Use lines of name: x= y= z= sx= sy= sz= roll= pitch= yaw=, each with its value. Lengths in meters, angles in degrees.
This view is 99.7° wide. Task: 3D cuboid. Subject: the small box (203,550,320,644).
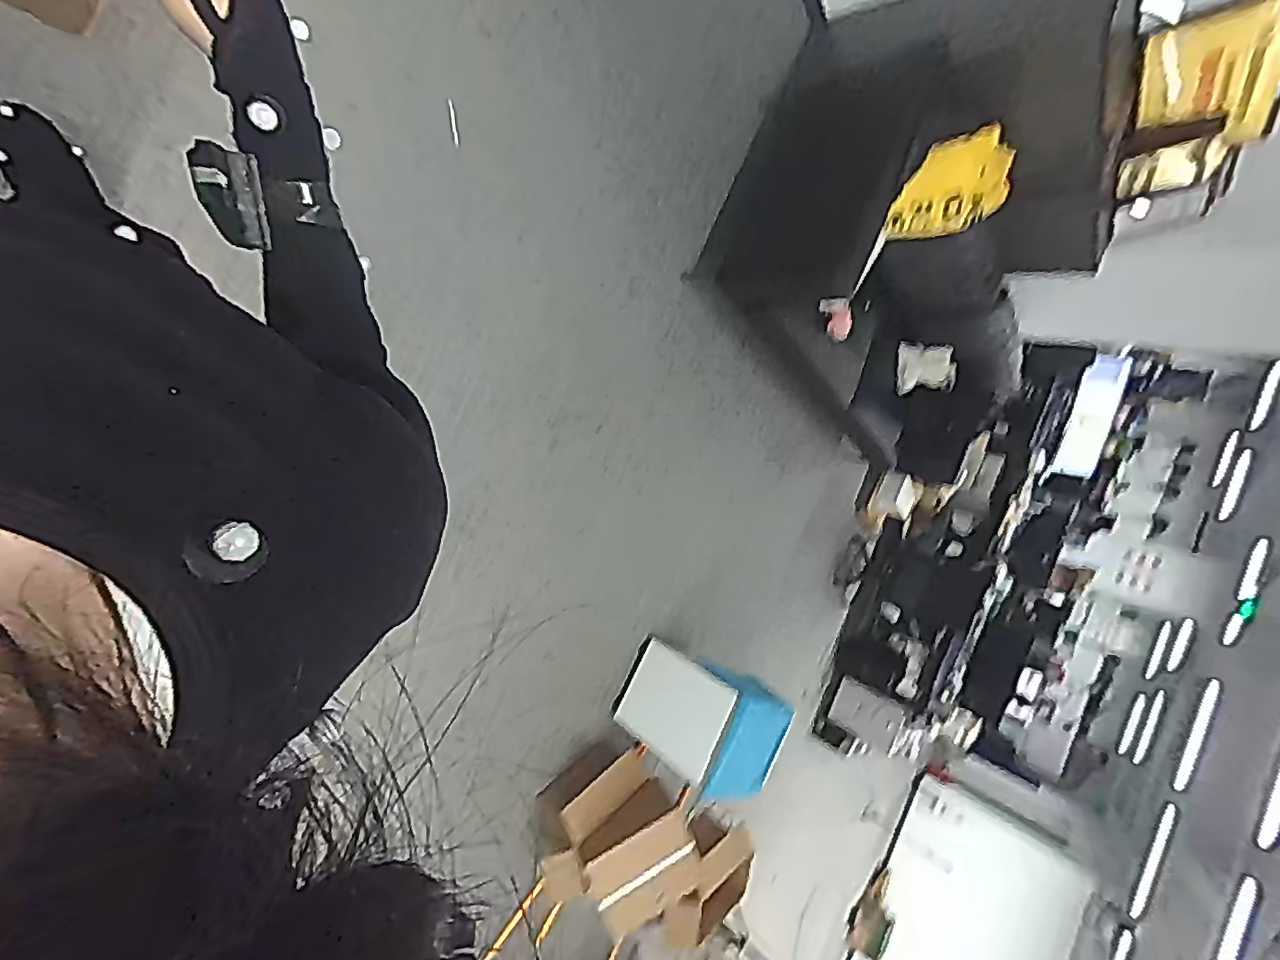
small box: x=-0.916 y=0.285 z=1.304 sx=0.168 sy=0.176 sz=0.179 roll=28 pitch=84 yaw=-48
